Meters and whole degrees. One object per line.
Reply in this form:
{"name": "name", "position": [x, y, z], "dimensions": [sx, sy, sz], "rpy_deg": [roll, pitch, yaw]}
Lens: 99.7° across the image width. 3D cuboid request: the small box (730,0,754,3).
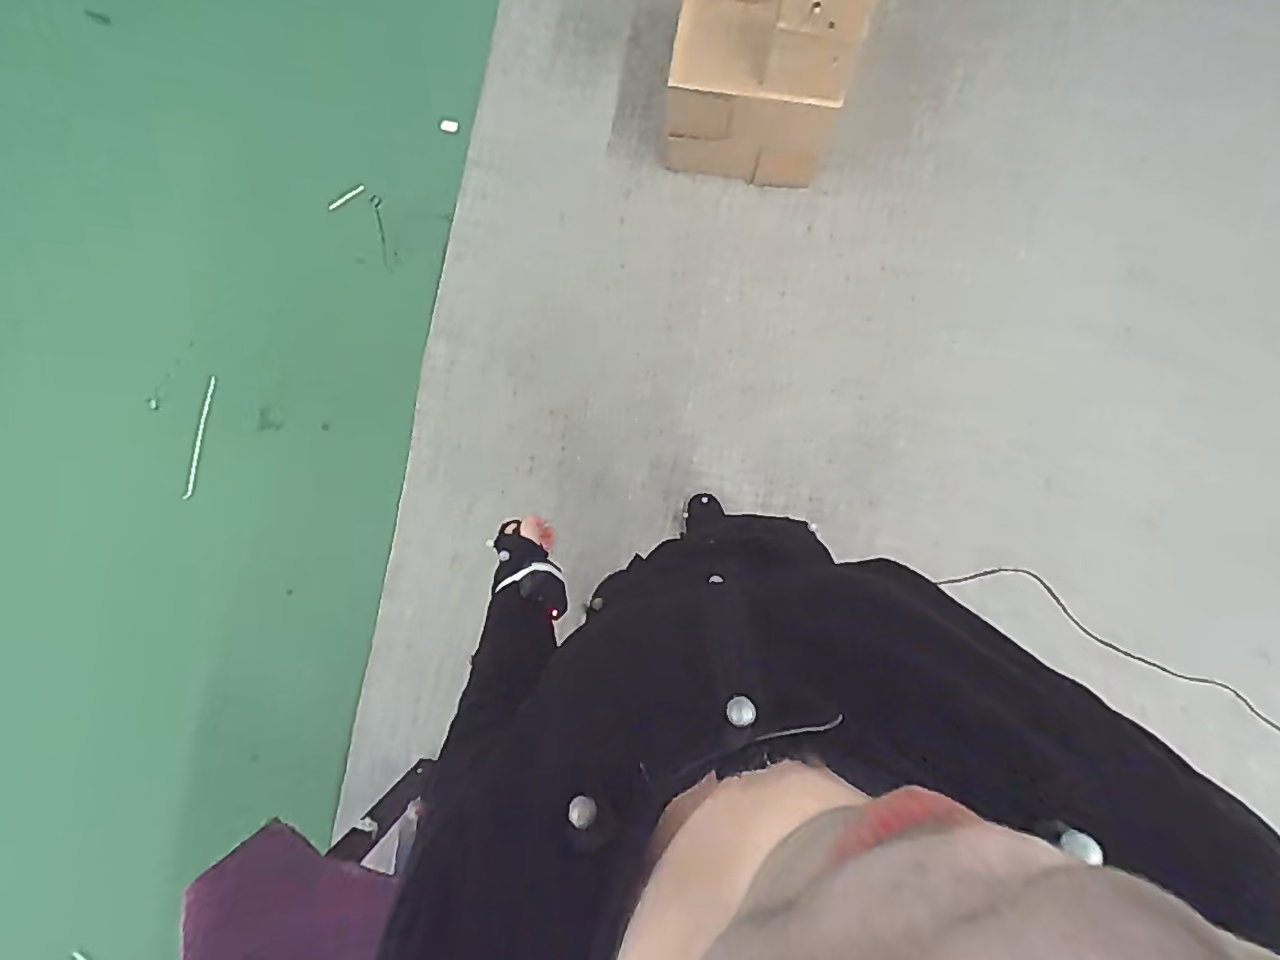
{"name": "small box", "position": [0.198, -1.199, 1.172], "dimensions": [0.168, 0.176, 0.179], "rpy_deg": [10, 85, 6]}
